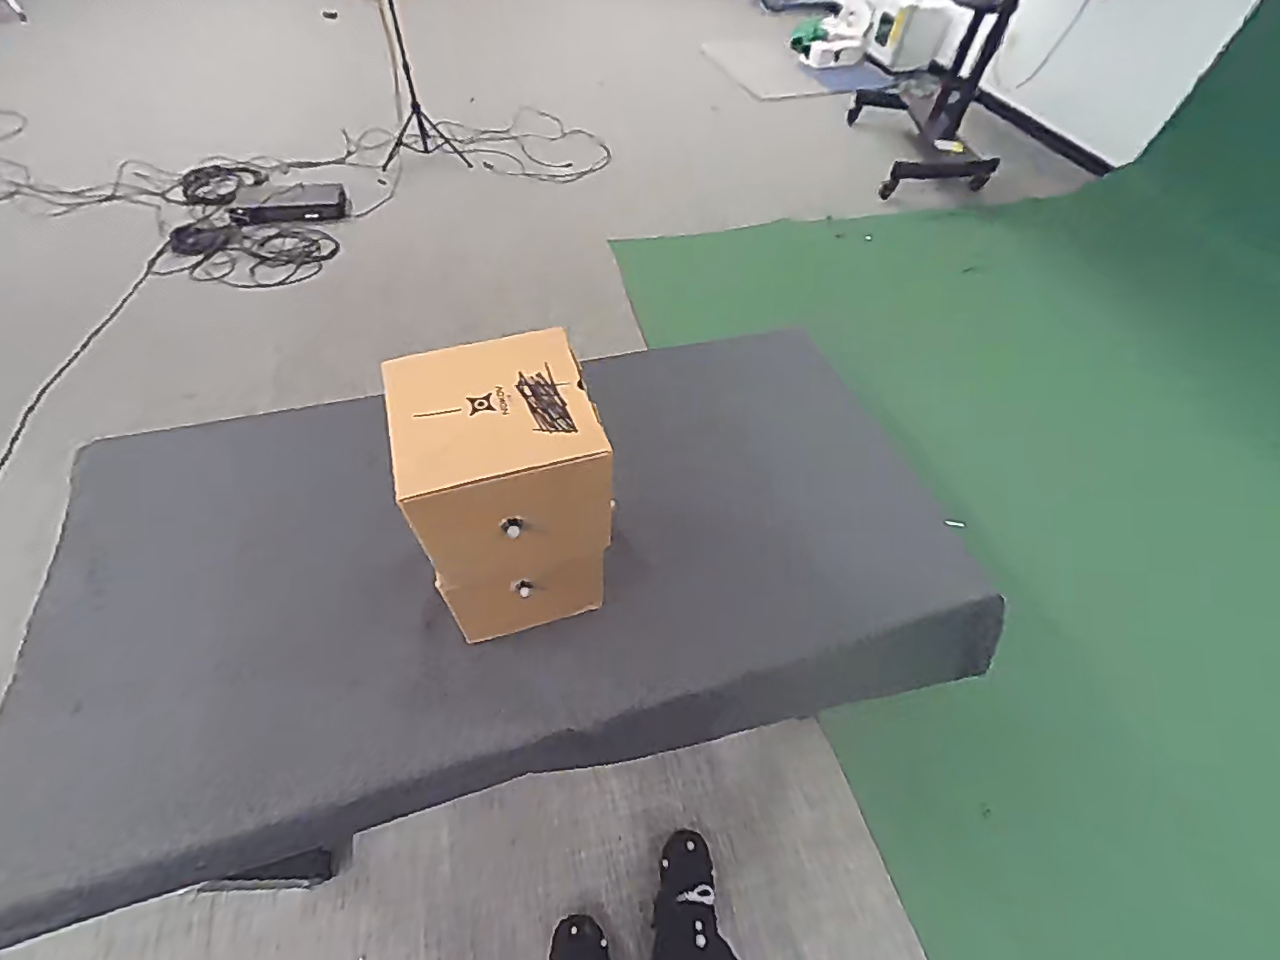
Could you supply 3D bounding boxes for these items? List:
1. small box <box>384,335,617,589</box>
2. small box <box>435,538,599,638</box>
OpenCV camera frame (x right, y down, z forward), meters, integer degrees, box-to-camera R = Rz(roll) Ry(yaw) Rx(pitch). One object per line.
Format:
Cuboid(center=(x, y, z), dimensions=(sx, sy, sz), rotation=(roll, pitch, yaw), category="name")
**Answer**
Cuboid(center=(-0.135, -0.015, 0.546), dimensions=(0.179, 0.176, 0.168), rotation=(-16, 57, -16), category="small box")
Cuboid(center=(-0.154, 0.078, 0.680), dimensions=(0.179, 0.176, 0.168), rotation=(-13, 57, -14), category="small box")
